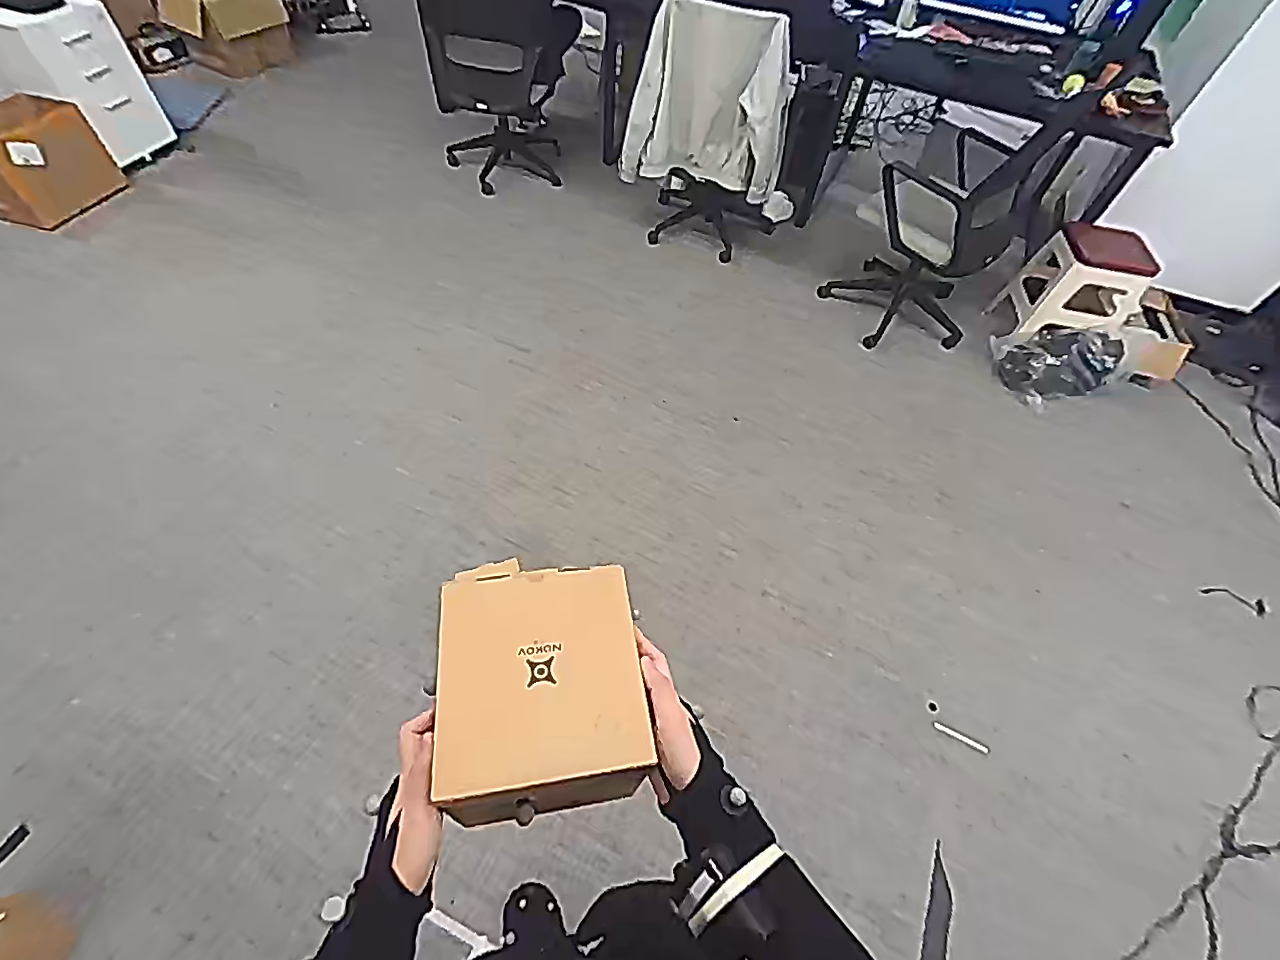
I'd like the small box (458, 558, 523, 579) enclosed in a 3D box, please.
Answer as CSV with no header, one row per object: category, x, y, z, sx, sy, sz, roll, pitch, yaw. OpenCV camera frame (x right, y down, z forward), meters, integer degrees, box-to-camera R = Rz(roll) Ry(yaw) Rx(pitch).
small box,-0.383,0.340,1.454,0.168,0.176,0.179,-14,57,-15

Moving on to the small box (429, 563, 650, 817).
small box,-0.091,0.201,0.508,0.168,0.176,0.179,-4,52,-11
